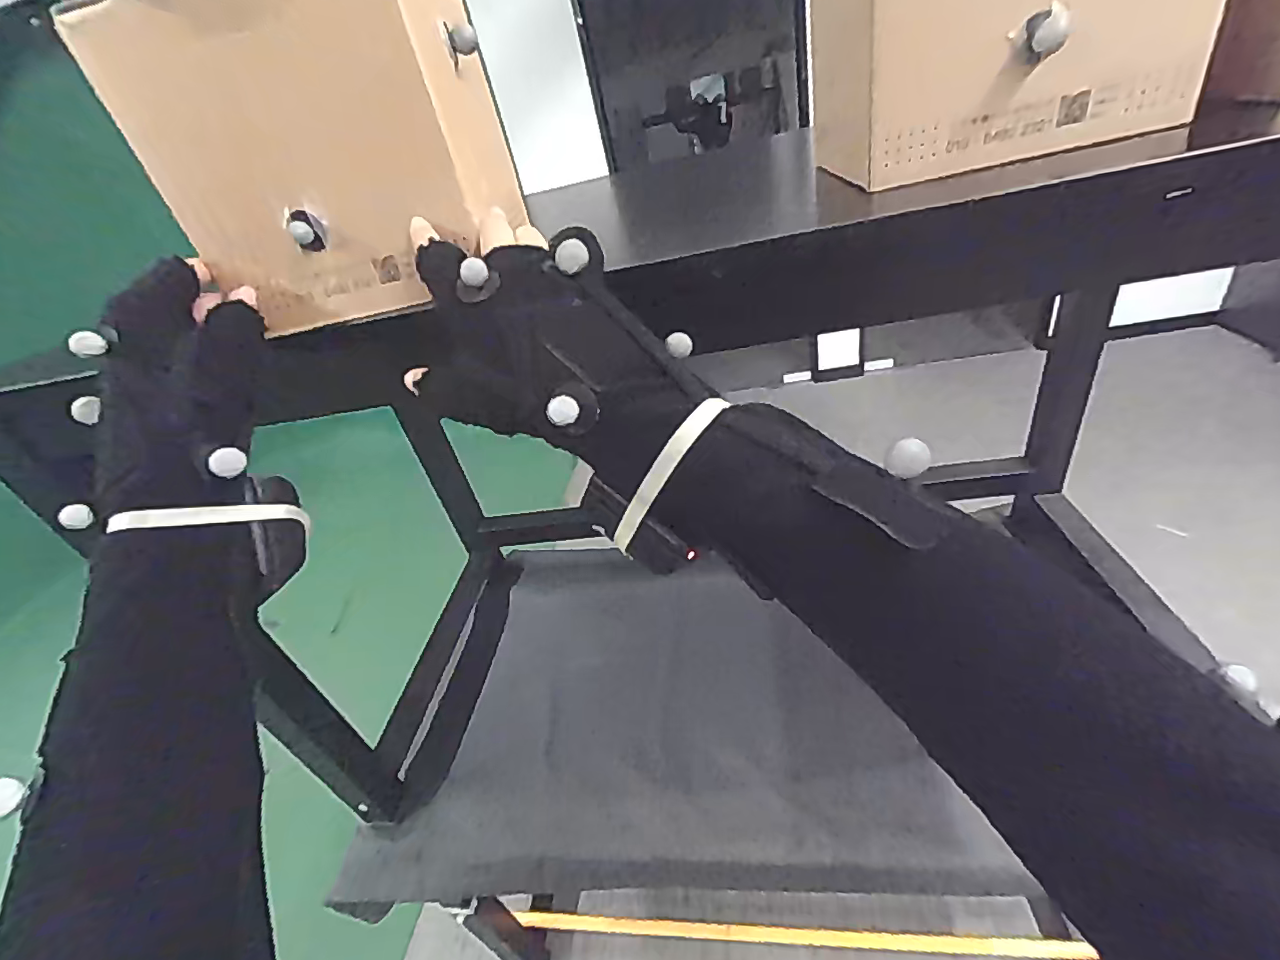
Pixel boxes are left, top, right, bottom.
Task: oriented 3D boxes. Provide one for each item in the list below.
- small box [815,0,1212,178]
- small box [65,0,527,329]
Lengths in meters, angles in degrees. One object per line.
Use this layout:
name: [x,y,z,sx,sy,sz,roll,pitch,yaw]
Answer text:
small box: [0.203,-0.297,0.330,0.168,0.176,0.179,-8,33,11]
small box: [-0.186,-0.218,0.366,0.168,0.176,0.179,-11,33,5]
